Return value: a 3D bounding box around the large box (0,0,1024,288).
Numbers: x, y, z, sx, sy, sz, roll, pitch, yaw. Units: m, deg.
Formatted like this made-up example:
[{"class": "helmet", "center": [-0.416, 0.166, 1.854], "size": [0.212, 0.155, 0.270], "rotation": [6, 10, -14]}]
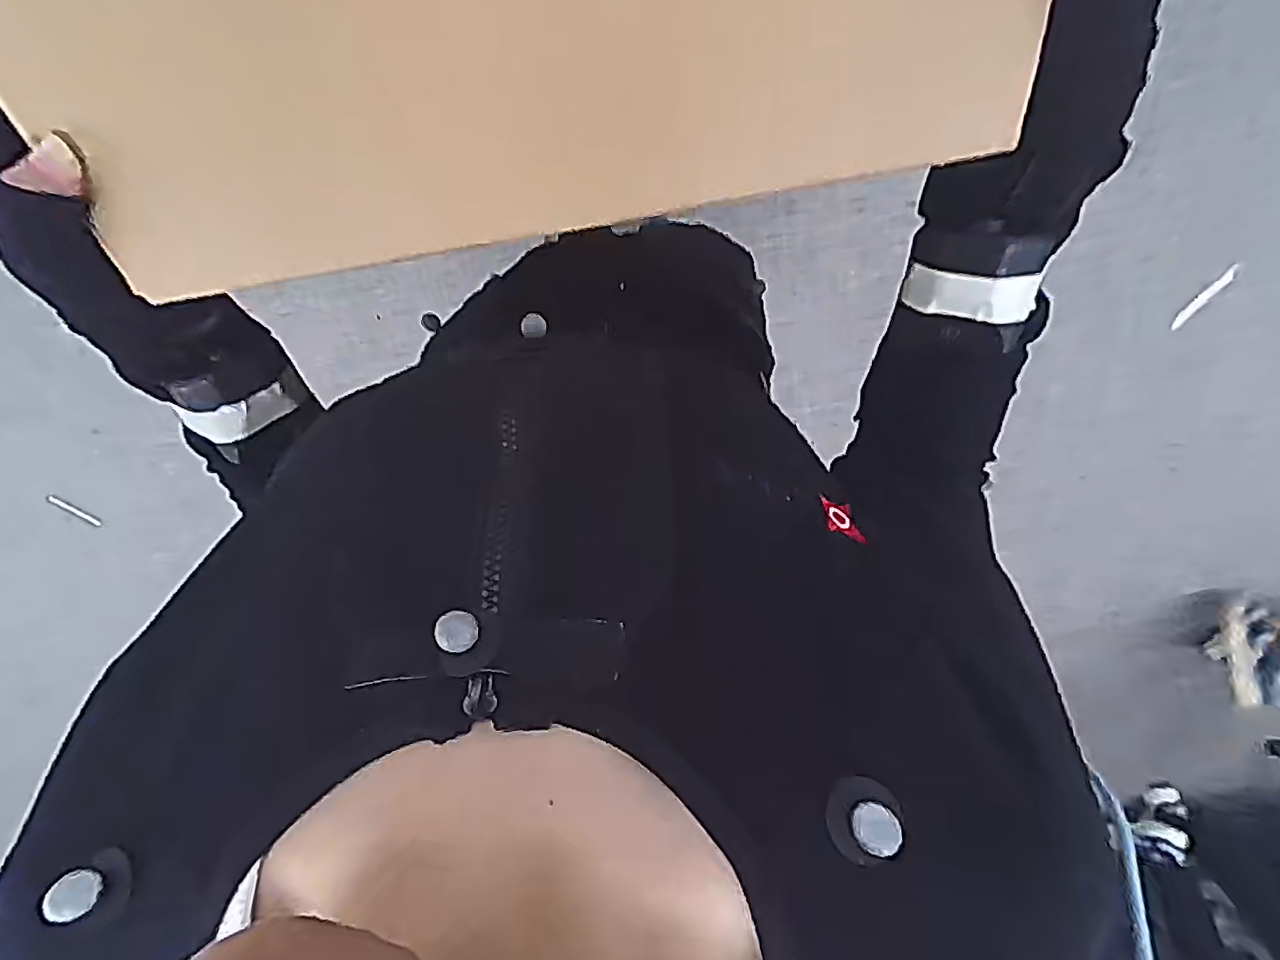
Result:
[{"class": "large box", "center": [-0.067, -0.333, 0.285], "size": [0.408, 0.320, 0.320], "rotation": [-8, 127, 5]}]
